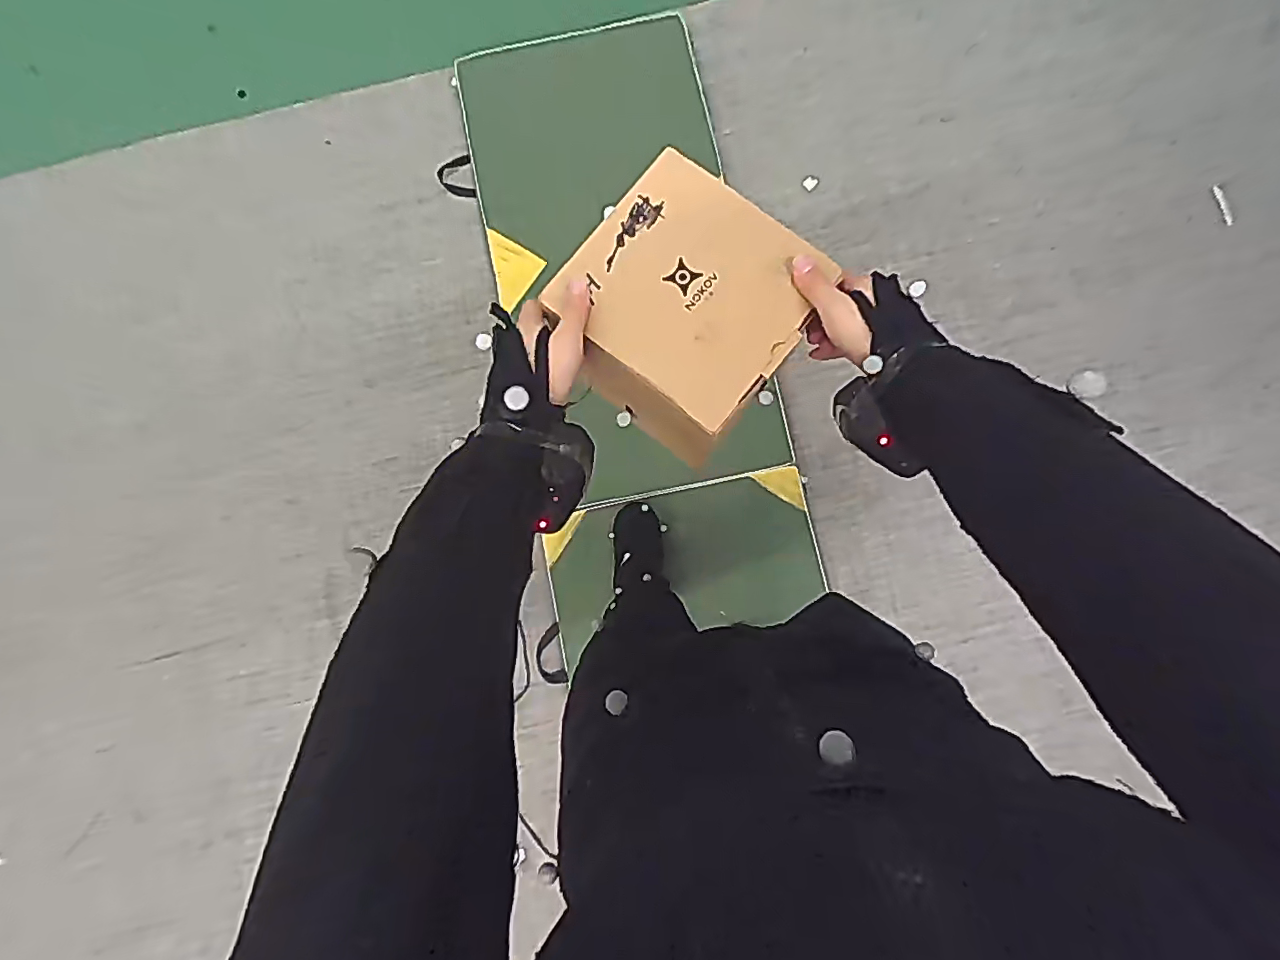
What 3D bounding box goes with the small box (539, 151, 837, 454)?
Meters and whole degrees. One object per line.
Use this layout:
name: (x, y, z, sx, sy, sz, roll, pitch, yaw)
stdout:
small box: (0.038, -0.140, 0.498, 0.179, 0.176, 0.168, 39, 84, 5)
